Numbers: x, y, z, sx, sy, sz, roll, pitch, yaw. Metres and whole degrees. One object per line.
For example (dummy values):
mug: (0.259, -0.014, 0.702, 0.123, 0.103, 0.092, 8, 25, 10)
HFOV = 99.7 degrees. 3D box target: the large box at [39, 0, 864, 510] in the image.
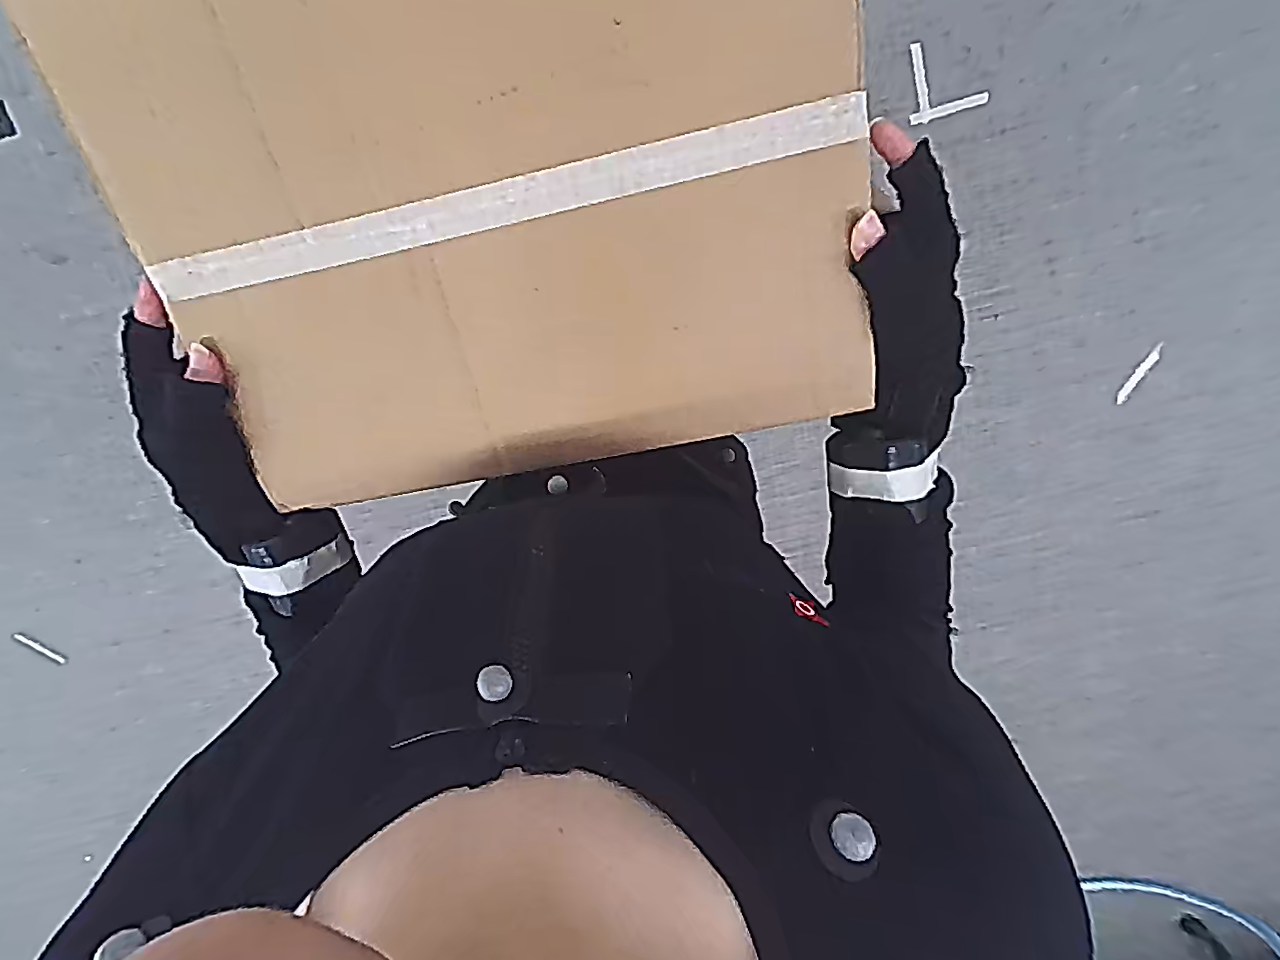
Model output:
large box: (-0.075, -0.211, 0.443, 0.408, 0.320, 0.320, -10, 113, 6)
